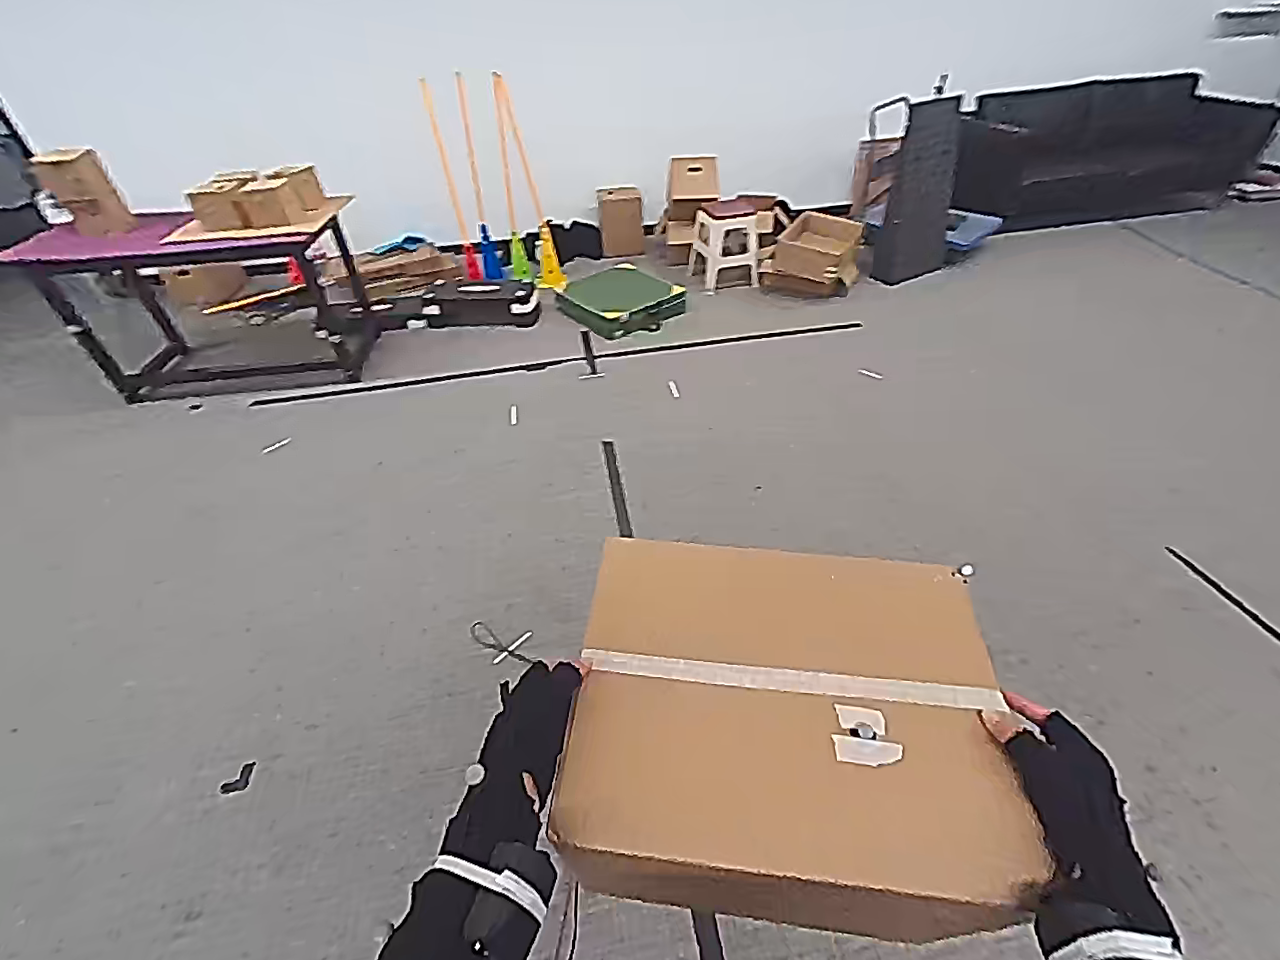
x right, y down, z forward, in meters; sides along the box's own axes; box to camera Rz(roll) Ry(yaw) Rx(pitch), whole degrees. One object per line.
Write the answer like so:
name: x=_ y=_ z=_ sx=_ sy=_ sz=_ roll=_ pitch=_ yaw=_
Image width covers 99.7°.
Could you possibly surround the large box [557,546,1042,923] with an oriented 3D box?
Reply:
large box: x=0.140 y=0.303 z=0.651 sx=0.408 sy=0.320 sz=0.320 roll=4 pitch=48 yaw=5
